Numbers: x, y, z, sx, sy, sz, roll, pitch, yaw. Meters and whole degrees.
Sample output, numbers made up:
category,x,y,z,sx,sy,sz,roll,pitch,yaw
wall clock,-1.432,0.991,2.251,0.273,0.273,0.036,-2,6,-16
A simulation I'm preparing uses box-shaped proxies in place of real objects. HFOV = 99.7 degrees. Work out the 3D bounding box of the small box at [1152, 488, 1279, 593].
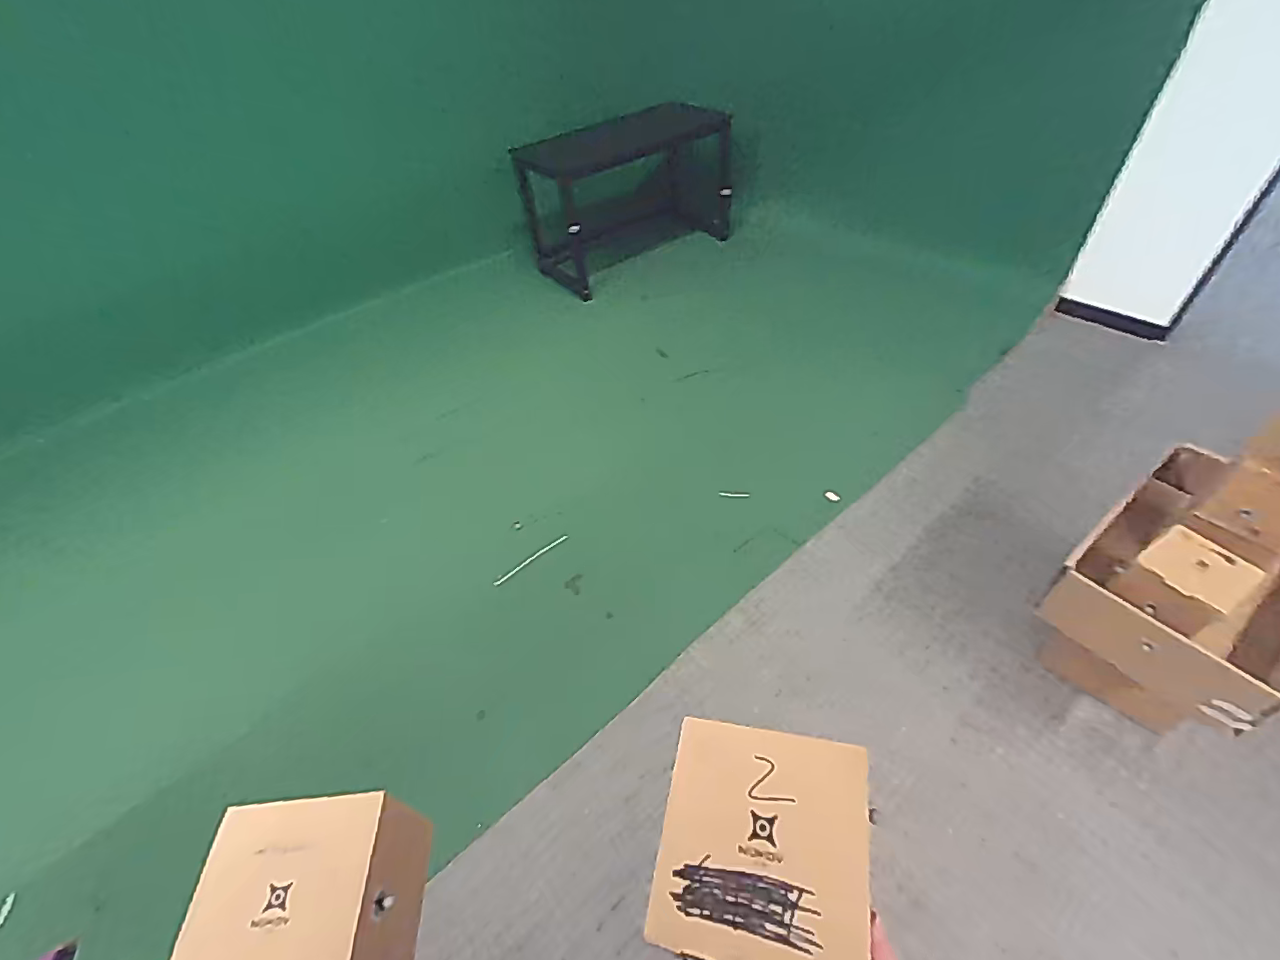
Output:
category,x,y,z,sx,sy,sz,roll,pitch,yaw
small box,1.372,0.128,1.273,0.179,0.176,0.168,-34,51,-21

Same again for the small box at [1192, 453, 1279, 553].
category,x,y,z,sx,sy,sz,roll,pitch,yaw
small box,1.352,0.019,1.154,0.179,0.176,0.168,-34,52,-21

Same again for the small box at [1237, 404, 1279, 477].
category,x,y,z,sx,sy,sz,roll,pitch,yaw
small box,1.335,-0.097,1.039,0.179,0.176,0.168,-27,49,-15
